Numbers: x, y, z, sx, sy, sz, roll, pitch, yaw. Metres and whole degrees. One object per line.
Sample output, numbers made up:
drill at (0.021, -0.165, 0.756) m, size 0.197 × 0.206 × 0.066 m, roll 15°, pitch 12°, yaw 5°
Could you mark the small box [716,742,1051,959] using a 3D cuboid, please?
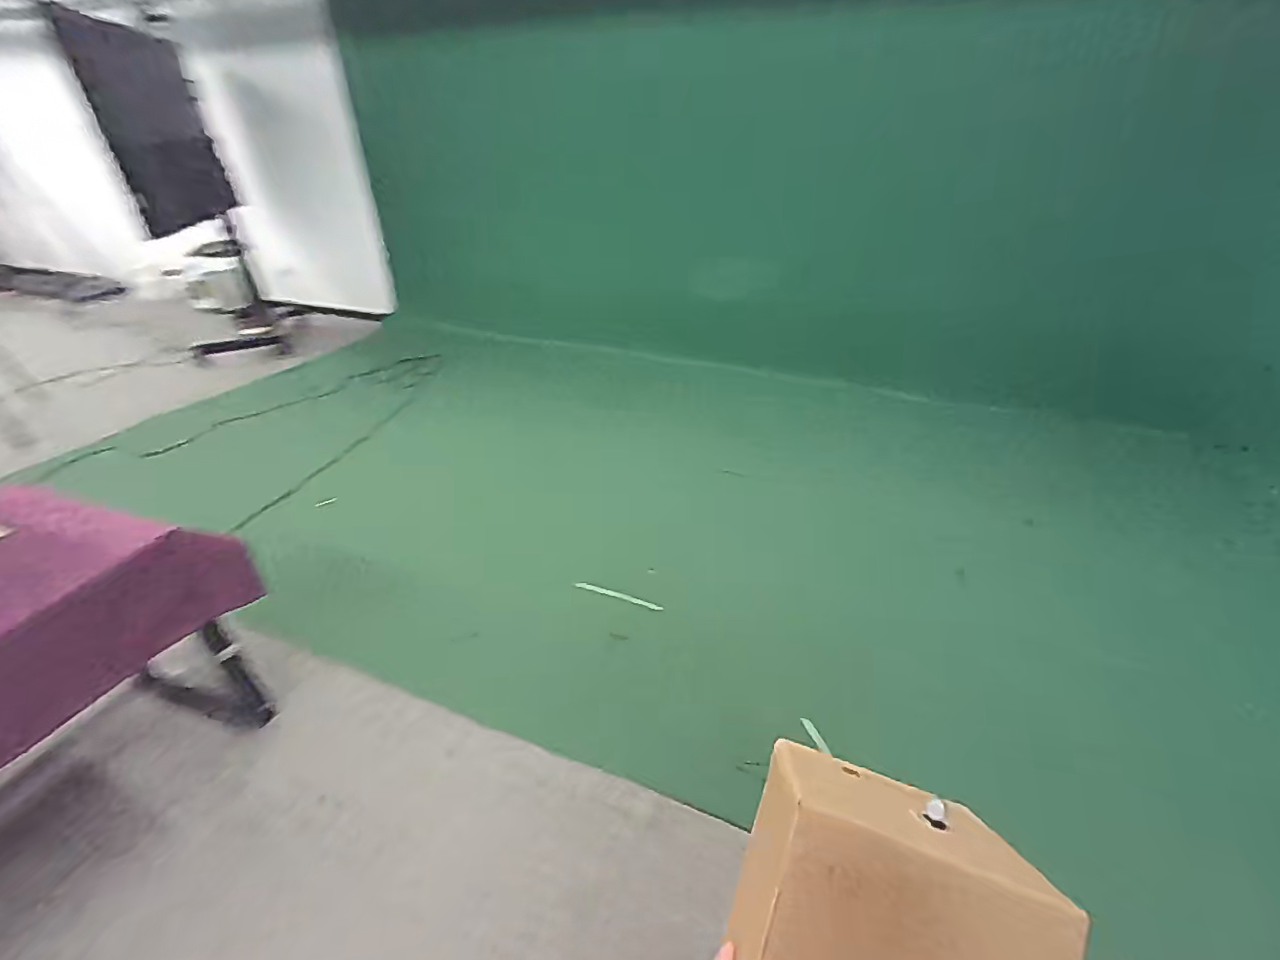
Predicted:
small box at (0.154, 0.323, 0.399) m, size 0.168 × 0.179 × 0.176 m, roll 15°, pitch -7°, yaw 12°
